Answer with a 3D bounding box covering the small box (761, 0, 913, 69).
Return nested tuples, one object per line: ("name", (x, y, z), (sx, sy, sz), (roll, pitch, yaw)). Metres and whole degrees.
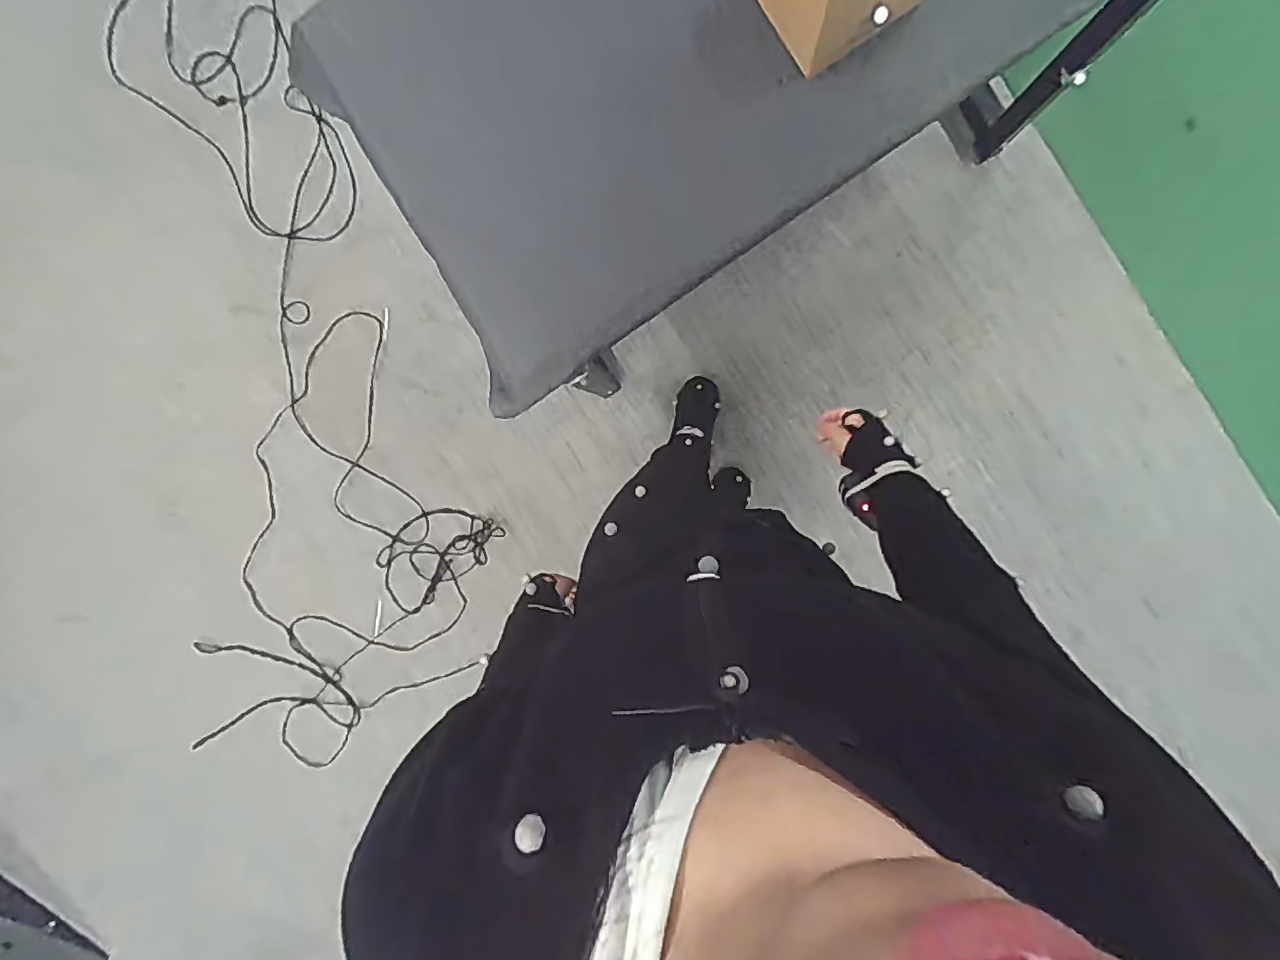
("small box", (0.229, -0.633, 0.612), (0.168, 0.176, 0.179), (-32, 91, 8))
